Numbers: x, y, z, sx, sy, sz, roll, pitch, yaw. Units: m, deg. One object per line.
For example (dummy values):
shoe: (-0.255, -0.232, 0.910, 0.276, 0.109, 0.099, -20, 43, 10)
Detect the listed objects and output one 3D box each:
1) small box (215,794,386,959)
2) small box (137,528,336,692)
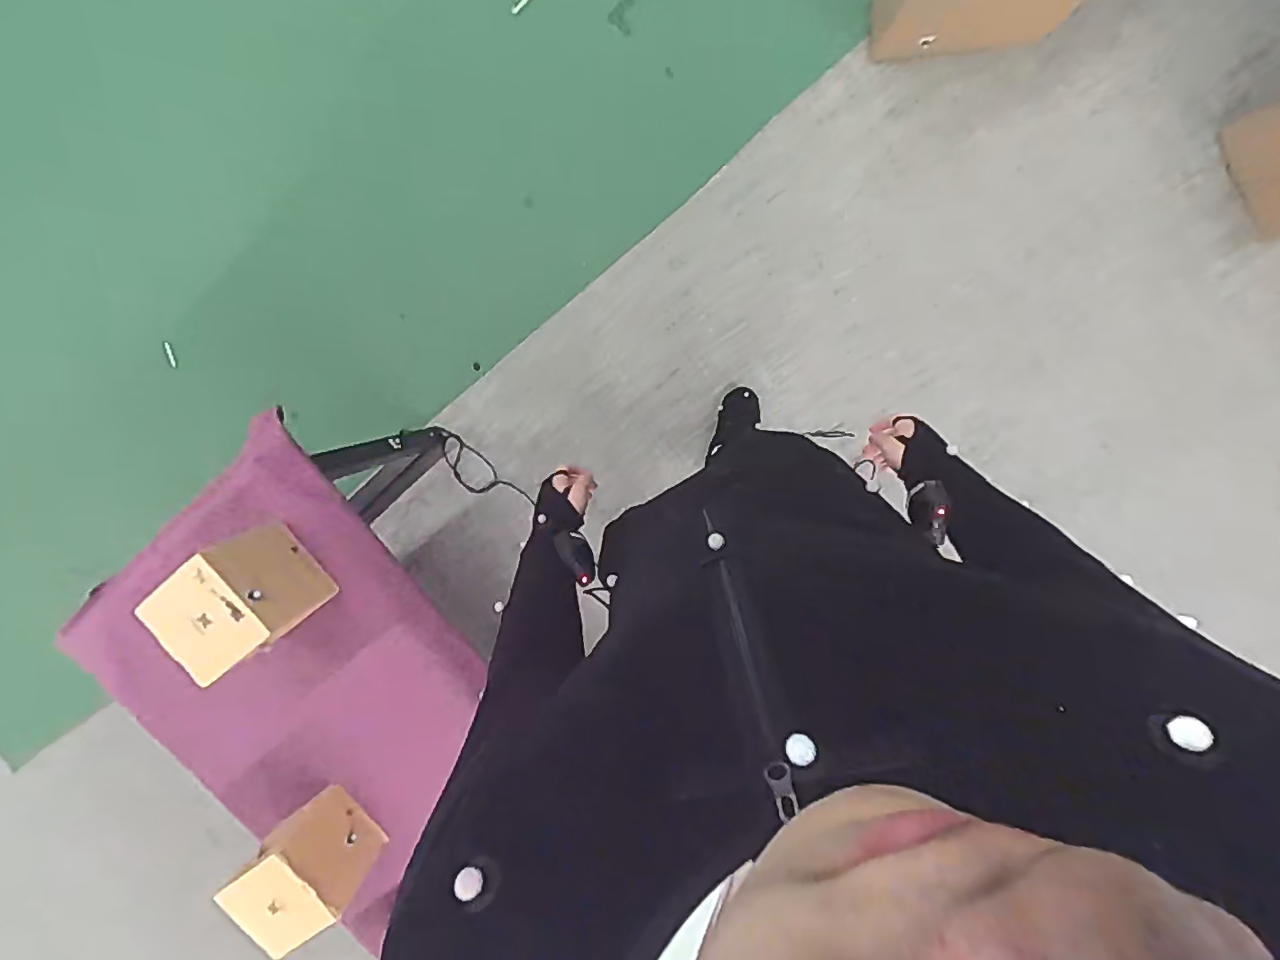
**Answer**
small box: (-0.623, 0.745, 1.017, 0.179, 0.176, 0.168, -38, 95, 10)
small box: (-0.664, 0.210, 0.911, 0.179, 0.176, 0.168, -36, 97, 14)
